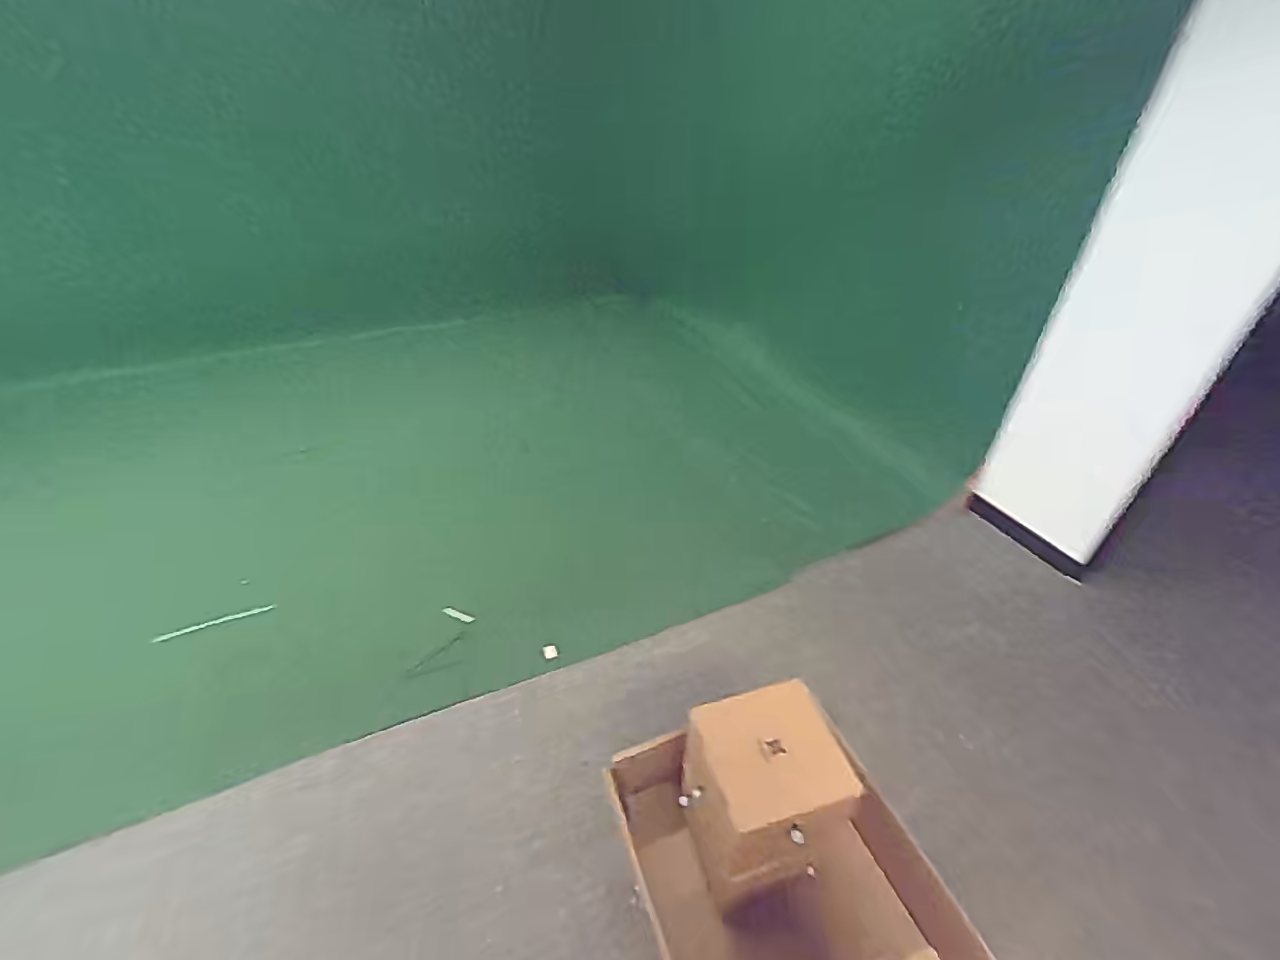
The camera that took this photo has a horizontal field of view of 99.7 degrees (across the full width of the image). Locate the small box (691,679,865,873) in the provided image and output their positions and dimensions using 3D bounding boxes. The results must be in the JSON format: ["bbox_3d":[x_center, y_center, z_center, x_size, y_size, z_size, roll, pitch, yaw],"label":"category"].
[{"bbox_3d":[0.181,0.418,0.768,0.179,0.176,0.168,-11,39,-11],"label":"small box"}]
